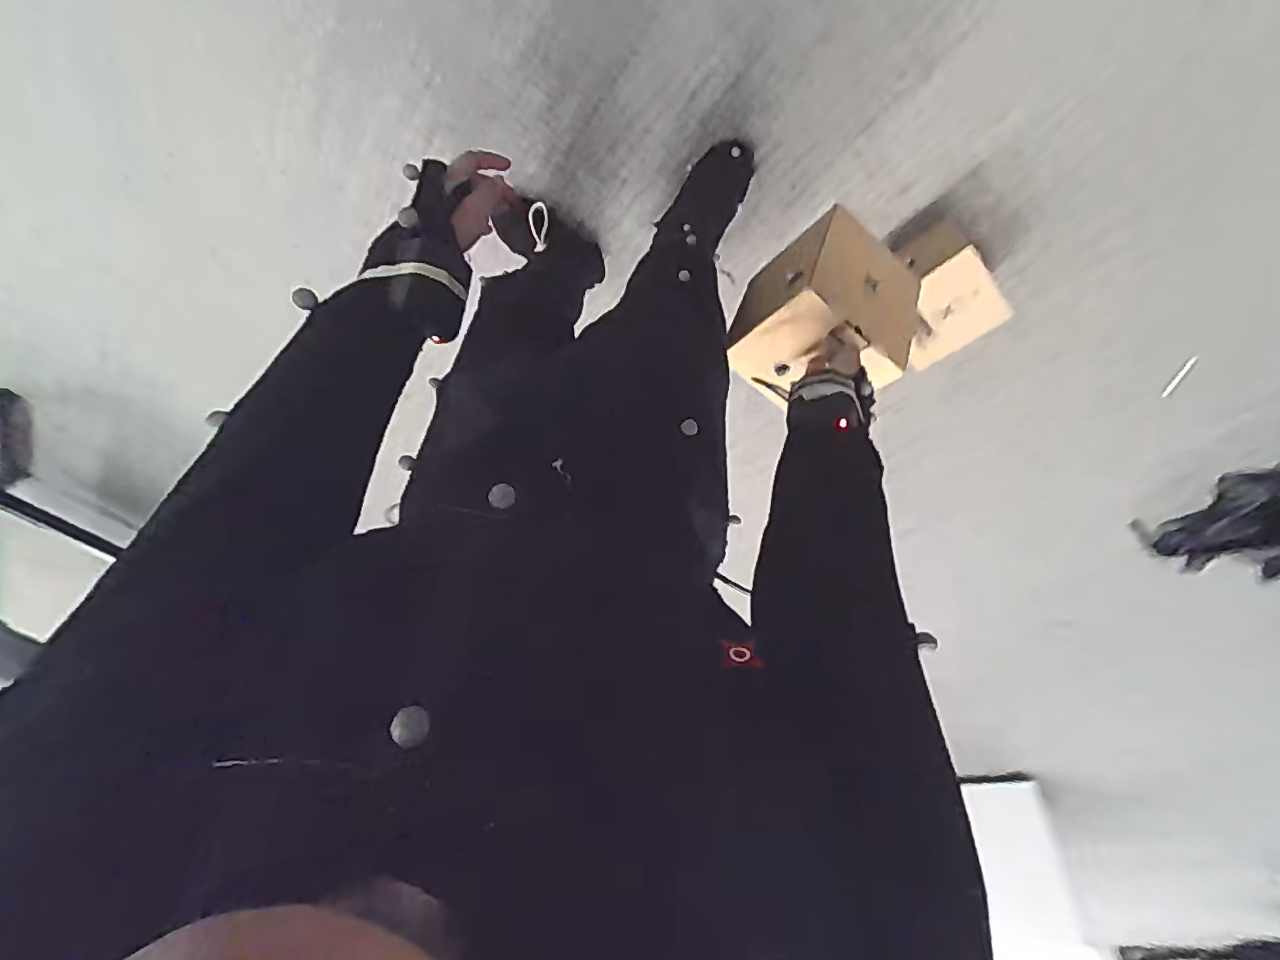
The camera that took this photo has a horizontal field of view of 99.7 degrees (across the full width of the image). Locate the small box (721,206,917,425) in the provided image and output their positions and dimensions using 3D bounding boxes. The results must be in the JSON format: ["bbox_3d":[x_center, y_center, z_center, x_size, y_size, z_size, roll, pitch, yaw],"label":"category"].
[{"bbox_3d":[0.231,-0.204,0.711,0.168,0.179,0.176,34,149,-18],"label":"small box"}]
